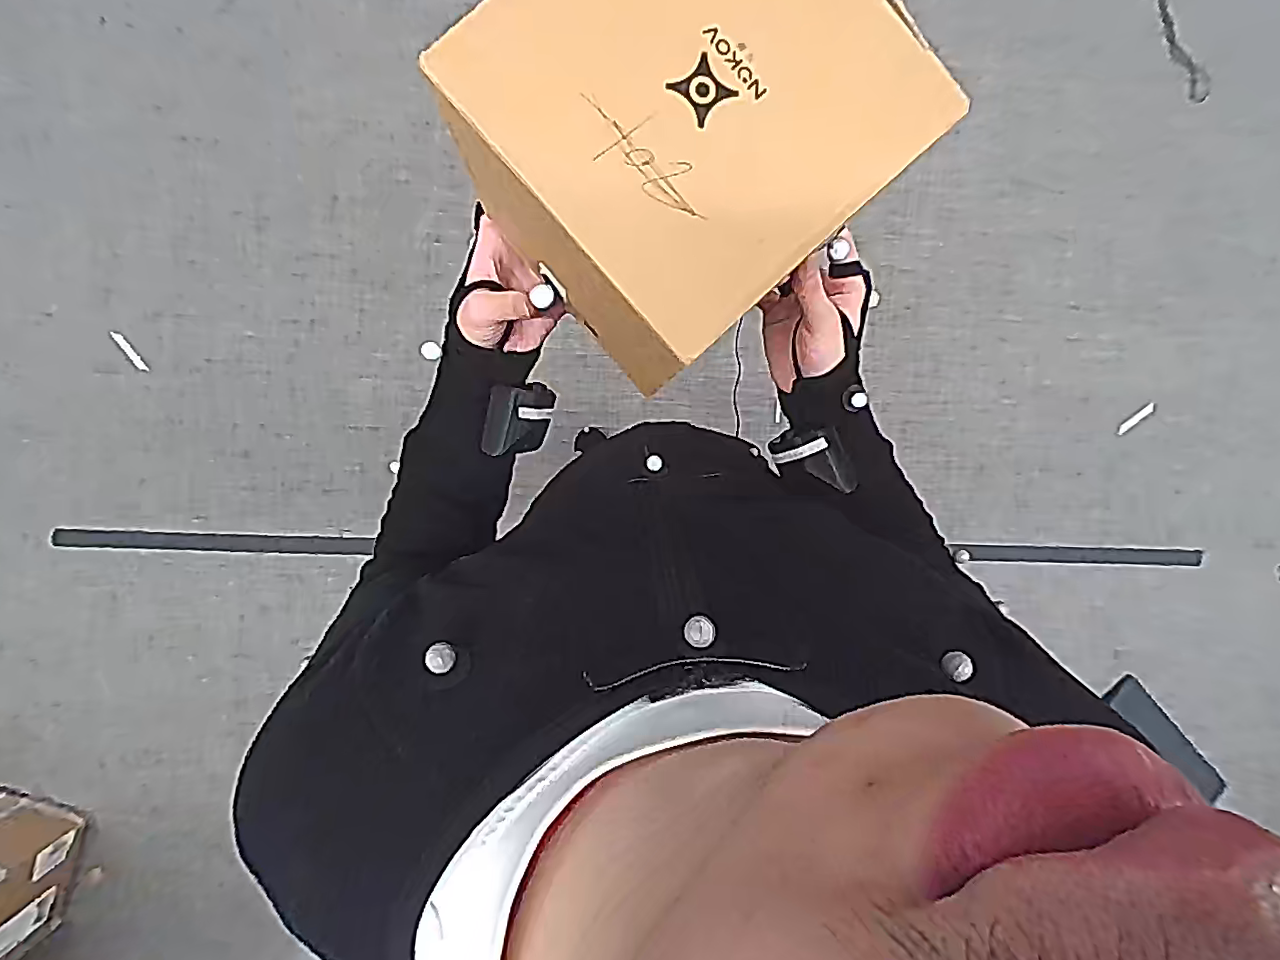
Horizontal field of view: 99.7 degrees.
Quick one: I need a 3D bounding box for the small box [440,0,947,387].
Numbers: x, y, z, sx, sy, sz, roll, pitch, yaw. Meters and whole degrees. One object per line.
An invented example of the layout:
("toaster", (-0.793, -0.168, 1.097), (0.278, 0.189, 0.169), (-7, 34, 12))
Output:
("small box", (0.021, -0.177, 0.320), (0.179, 0.176, 0.168), (-44, 95, -1))
